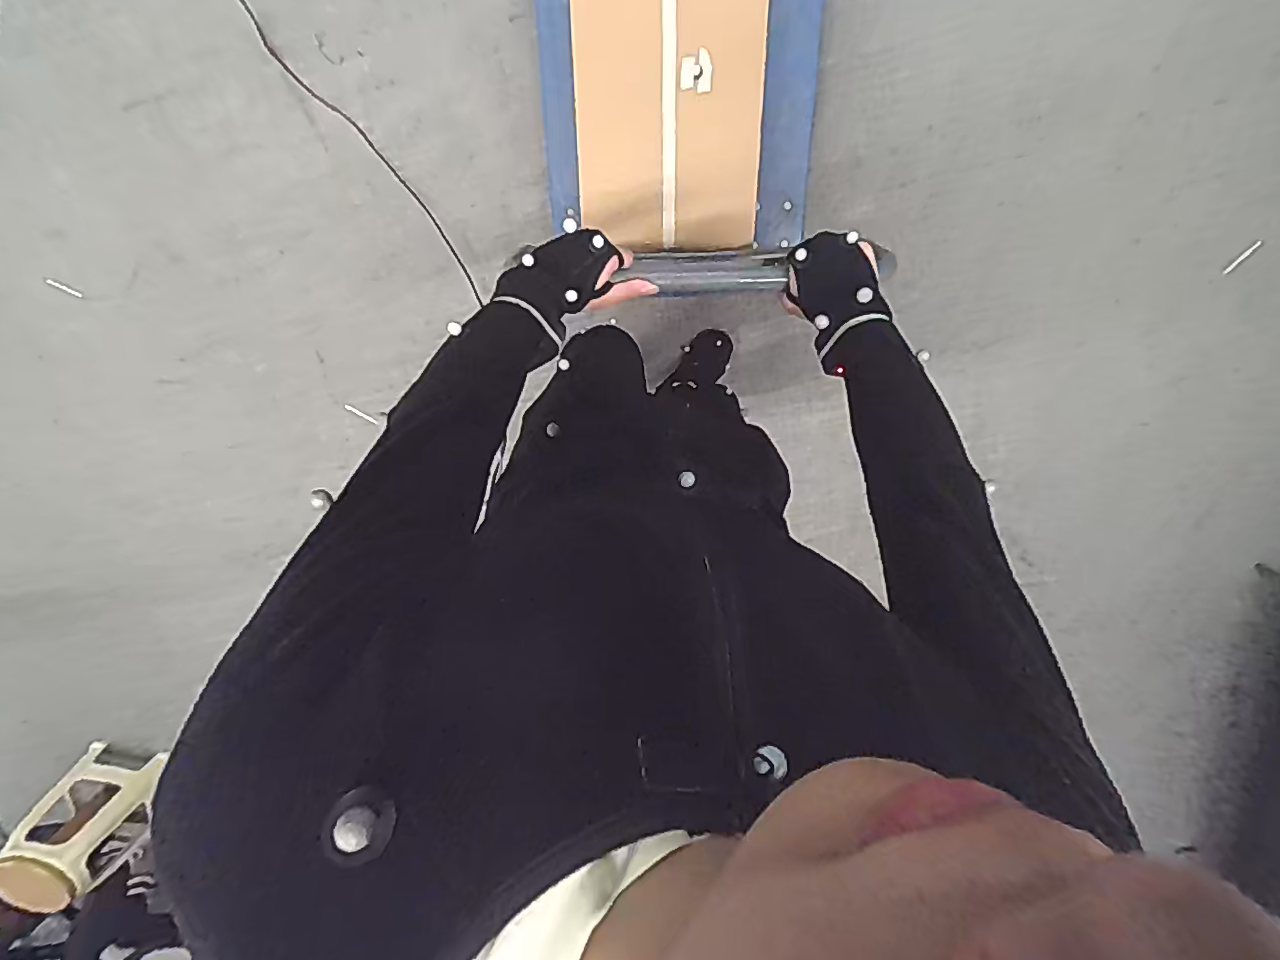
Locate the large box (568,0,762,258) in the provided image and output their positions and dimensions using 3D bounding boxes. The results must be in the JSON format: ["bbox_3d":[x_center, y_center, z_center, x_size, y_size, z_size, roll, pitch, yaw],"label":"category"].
[{"bbox_3d":[0.052,-0.658,1.052,0.320,0.320,0.408,-1,111,2],"label":"large box"}]
